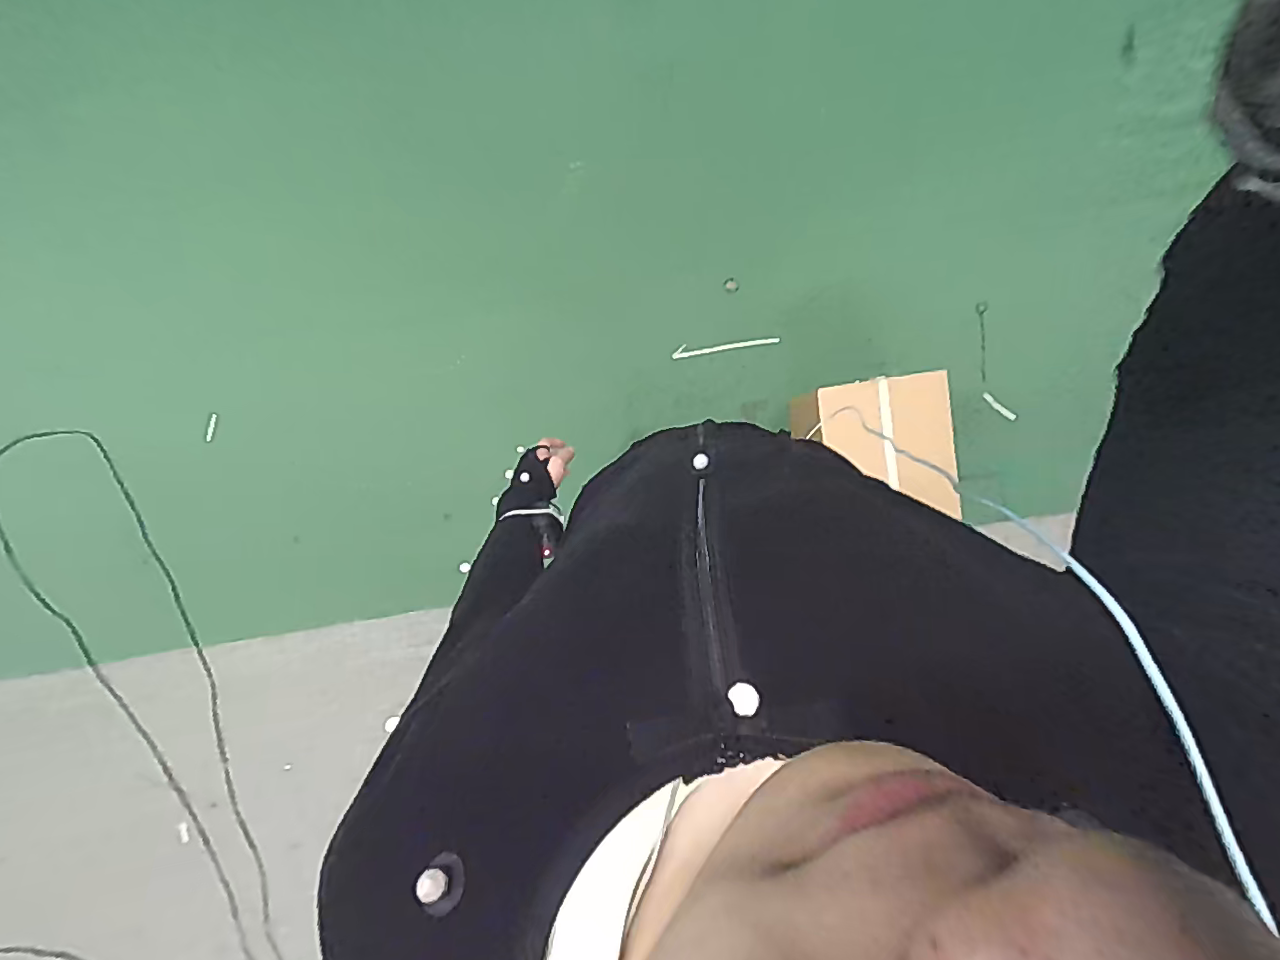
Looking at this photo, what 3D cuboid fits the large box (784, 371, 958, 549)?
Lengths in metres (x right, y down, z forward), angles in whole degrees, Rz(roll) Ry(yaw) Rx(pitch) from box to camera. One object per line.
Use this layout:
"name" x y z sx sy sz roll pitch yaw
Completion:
"large box" 0.605 -0.057 1.471 0.320 0.320 0.408 -8 94 3
